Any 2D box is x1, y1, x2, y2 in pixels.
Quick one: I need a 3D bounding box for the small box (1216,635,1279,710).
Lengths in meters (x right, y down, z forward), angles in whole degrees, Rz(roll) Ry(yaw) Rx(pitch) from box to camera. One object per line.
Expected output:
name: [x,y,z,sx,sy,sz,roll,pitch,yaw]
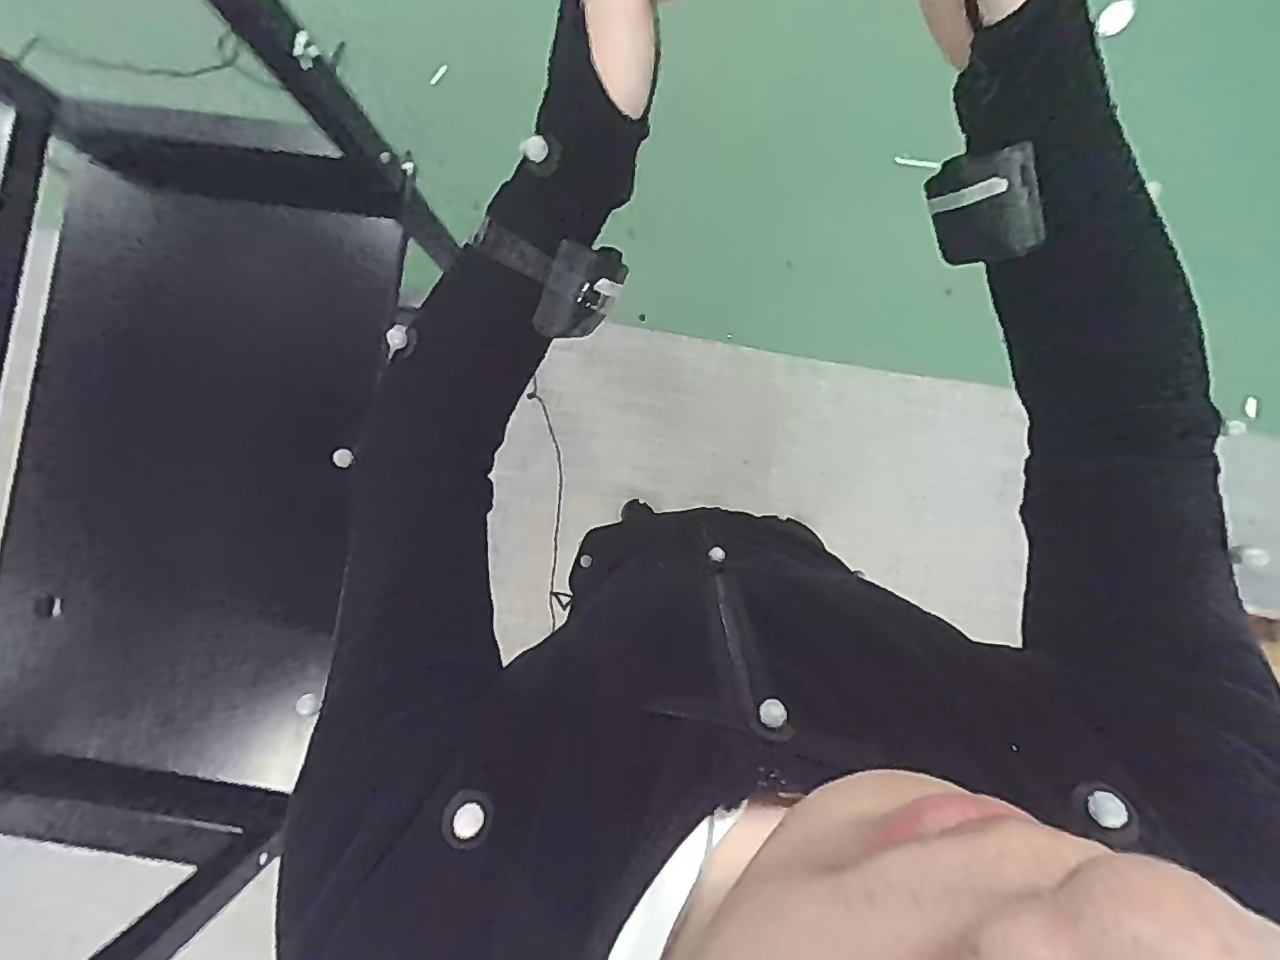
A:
small box: [1.733,0.530,1.462,0.179,0.176,0.168,11,89,1]
